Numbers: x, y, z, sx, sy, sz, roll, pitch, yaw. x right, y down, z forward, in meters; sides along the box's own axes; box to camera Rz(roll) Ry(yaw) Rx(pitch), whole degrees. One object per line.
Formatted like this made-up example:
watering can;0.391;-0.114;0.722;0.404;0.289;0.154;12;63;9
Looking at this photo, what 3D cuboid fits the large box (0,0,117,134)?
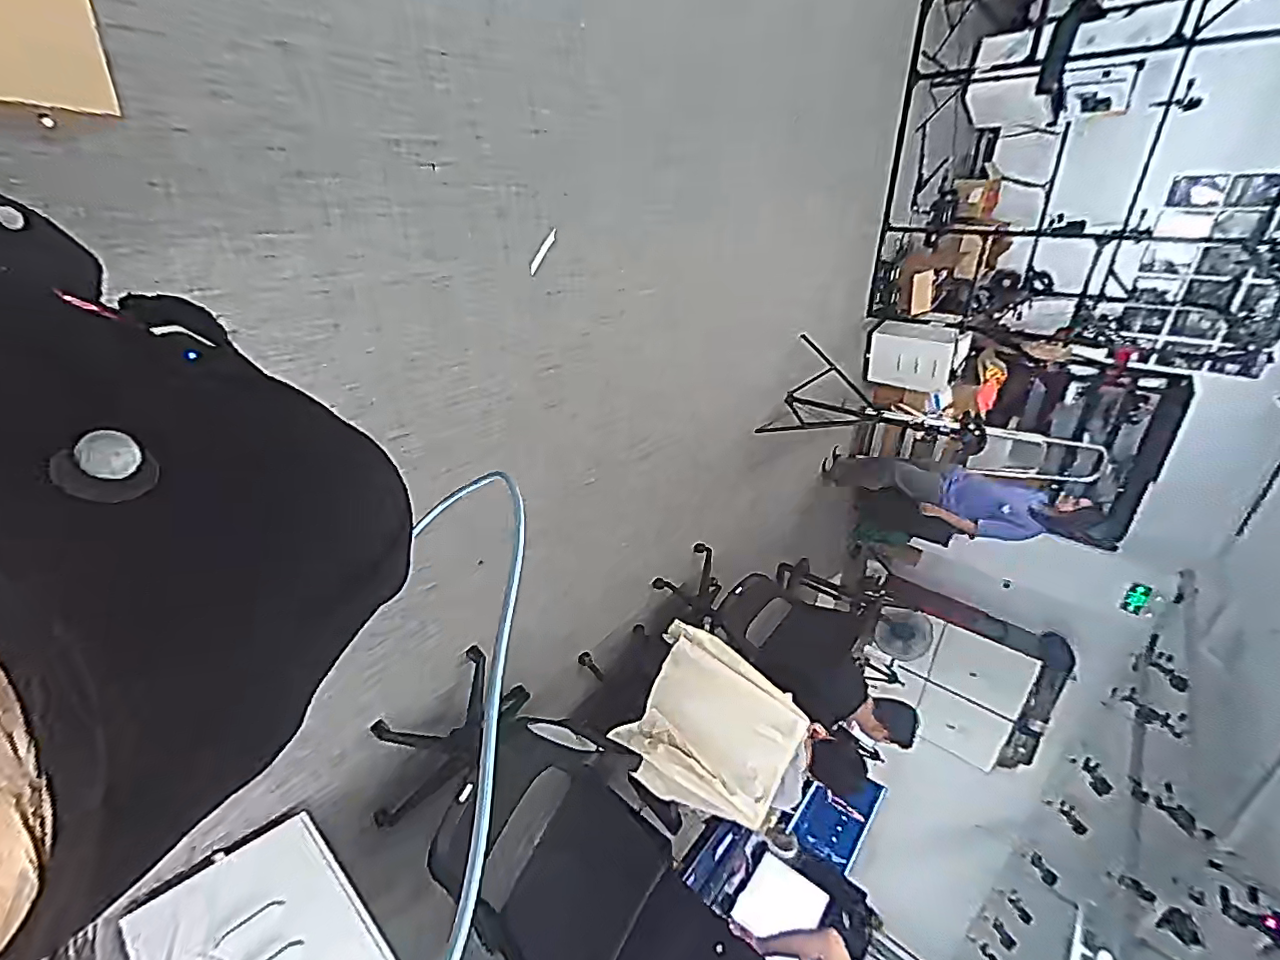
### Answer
large box;-0.946;-0.611;0.623;0.408;0.320;0.320;-24;125;-45
